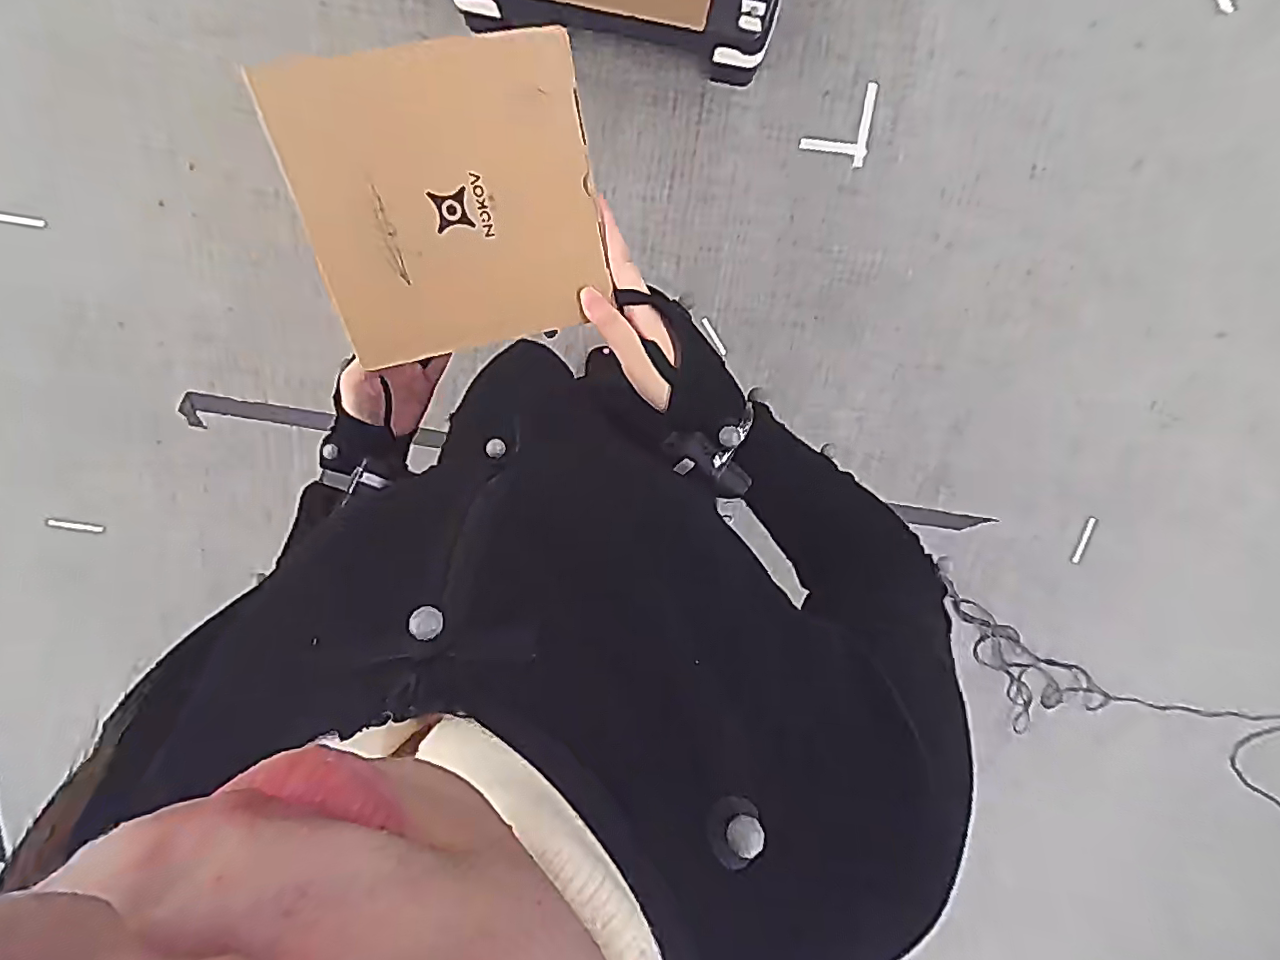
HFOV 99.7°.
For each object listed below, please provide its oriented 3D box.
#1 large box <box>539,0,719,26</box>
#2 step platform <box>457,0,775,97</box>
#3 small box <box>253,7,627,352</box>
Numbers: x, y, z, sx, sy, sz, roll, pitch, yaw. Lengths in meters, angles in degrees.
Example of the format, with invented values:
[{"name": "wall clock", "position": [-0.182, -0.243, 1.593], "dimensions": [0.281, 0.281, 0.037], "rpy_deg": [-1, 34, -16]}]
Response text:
[{"name": "large box", "position": [-0.038, -1.004, 0.861], "dimensions": [0.408, 0.320, 0.320], "rpy_deg": [9, 105, -1]}, {"name": "step platform", "position": [-0.055, -1.056, 1.094], "dimensions": [0.684, 0.204, 0.286], "rpy_deg": [14, 105, -3]}, {"name": "small box", "position": [-0.122, -0.200, 0.387], "dimensions": [0.179, 0.176, 0.168], "rpy_deg": [-13, 114, -10]}]
